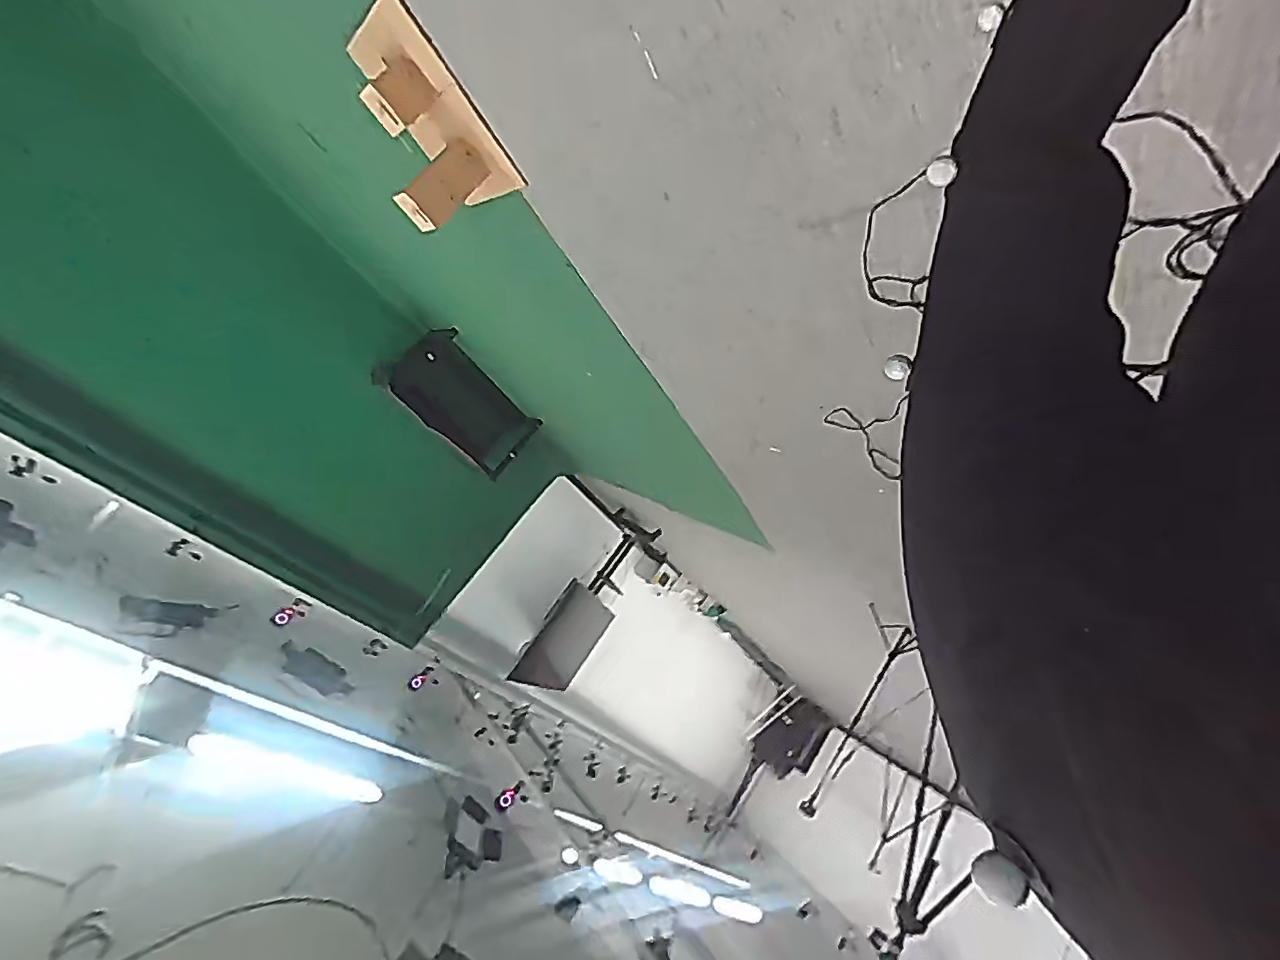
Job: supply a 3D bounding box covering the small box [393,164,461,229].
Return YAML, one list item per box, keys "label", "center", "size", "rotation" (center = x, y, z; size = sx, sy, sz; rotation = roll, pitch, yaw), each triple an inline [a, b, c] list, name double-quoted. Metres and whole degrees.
- label: "small box"
  center: [-0.865, -1.159, 2.208]
  size: [0.179, 0.176, 0.168]
  rotation: [23, 161, 48]

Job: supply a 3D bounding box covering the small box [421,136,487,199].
- label: "small box"
  center: [-0.769, -1.287, 2.245]
  size: [0.179, 0.176, 0.168]
  rotation: [20, 159, 49]
